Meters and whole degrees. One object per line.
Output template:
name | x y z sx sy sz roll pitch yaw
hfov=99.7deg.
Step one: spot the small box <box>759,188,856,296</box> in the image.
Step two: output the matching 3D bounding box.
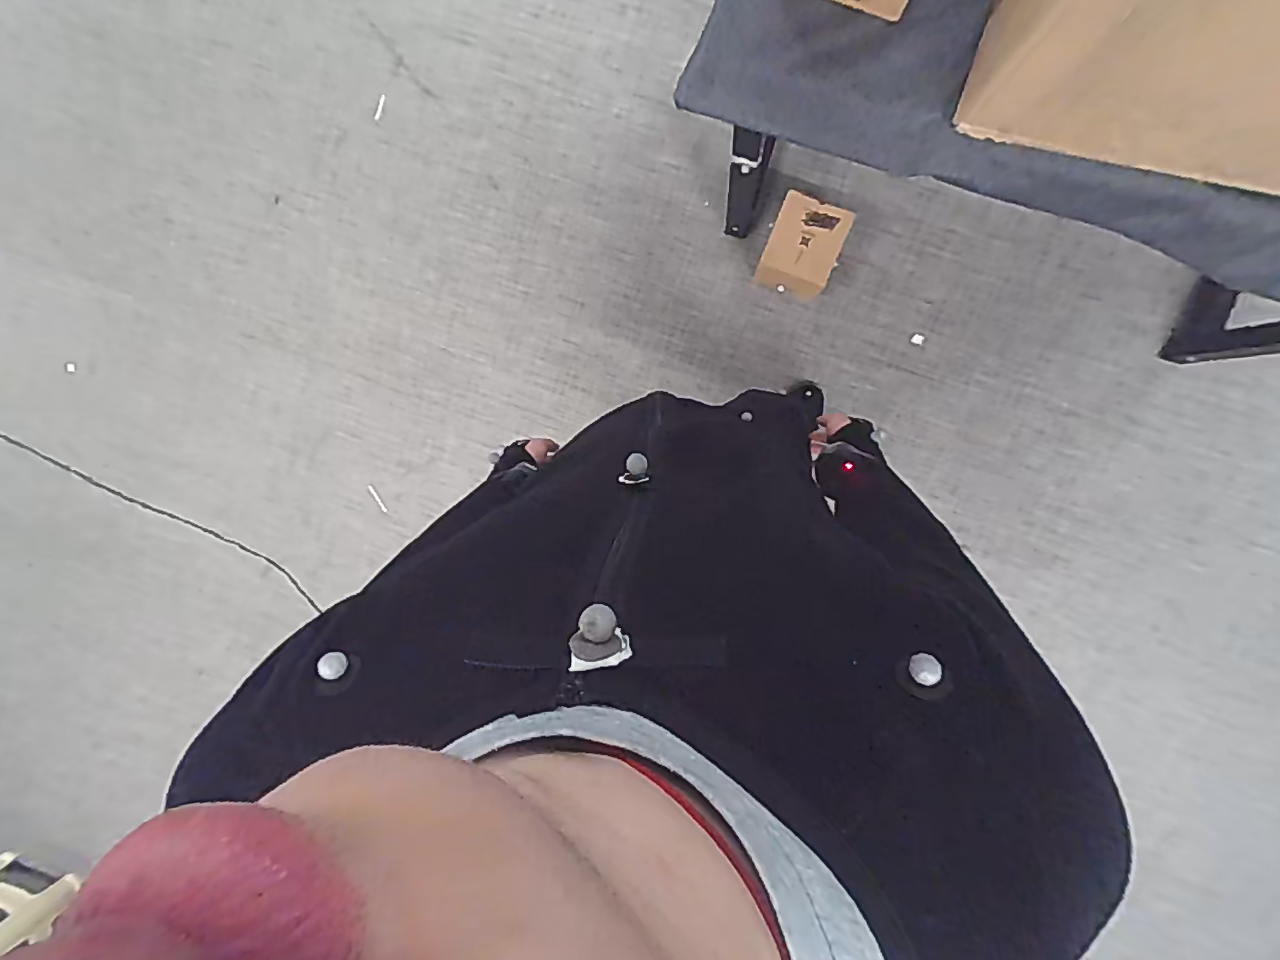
small box | 0.404 -0.582 1.342 0.168 0.176 0.179 23 101 5
